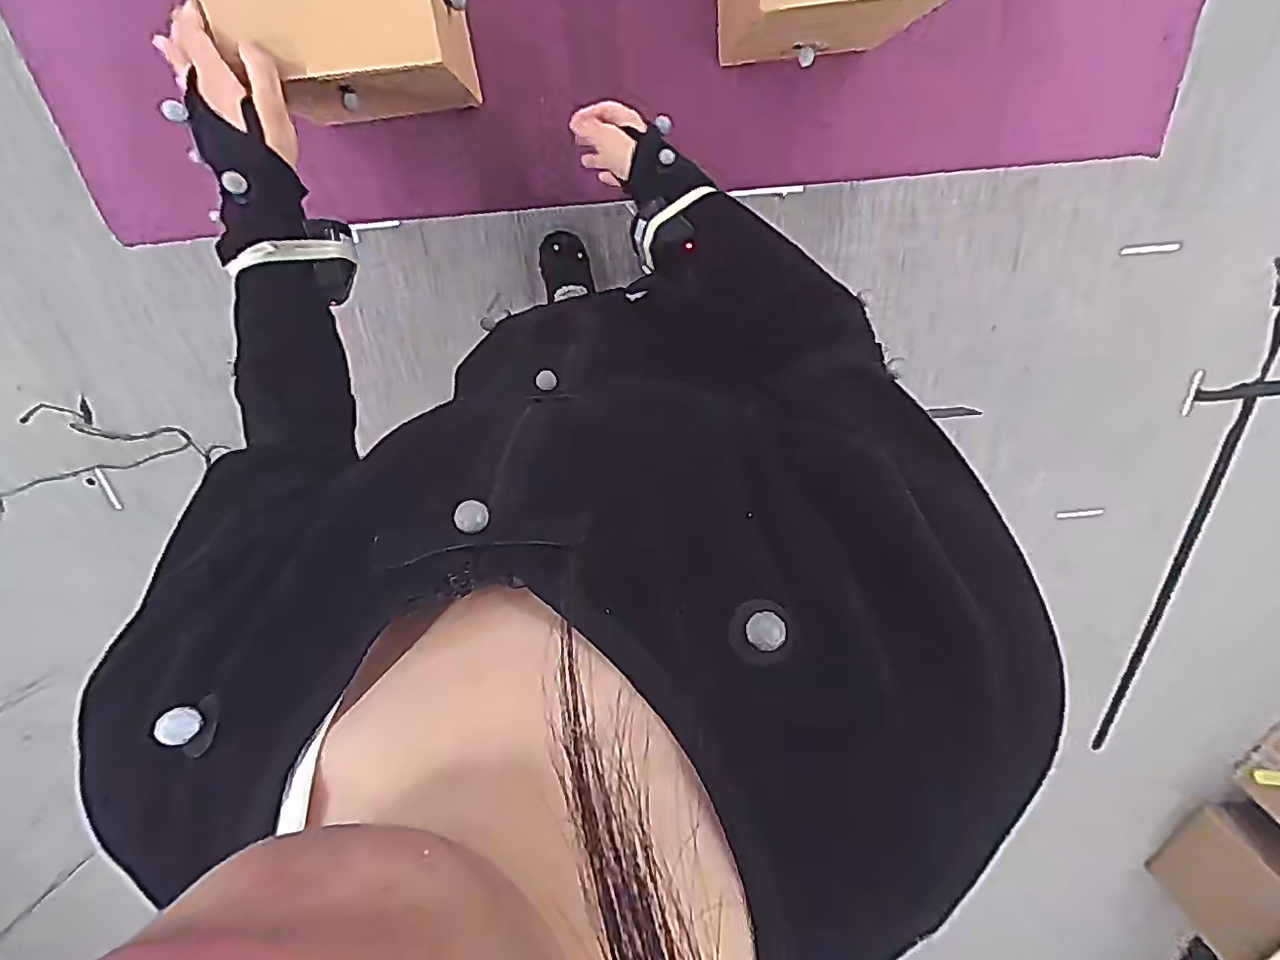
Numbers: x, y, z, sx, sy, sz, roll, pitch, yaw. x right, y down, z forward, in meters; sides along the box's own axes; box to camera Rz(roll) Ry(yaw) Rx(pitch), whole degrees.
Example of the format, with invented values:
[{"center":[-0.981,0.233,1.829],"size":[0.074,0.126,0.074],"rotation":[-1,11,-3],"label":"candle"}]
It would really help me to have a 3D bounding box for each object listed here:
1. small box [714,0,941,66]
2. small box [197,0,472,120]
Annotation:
[{"center":[0.157,-0.491,0.466],"size":[0.168,0.176,0.179],"rotation":[-6,116,0],"label":"small box"},{"center":[-0.257,-0.429,0.469],"size":[0.179,0.176,0.168],"rotation":[-8,116,0],"label":"small box"}]
